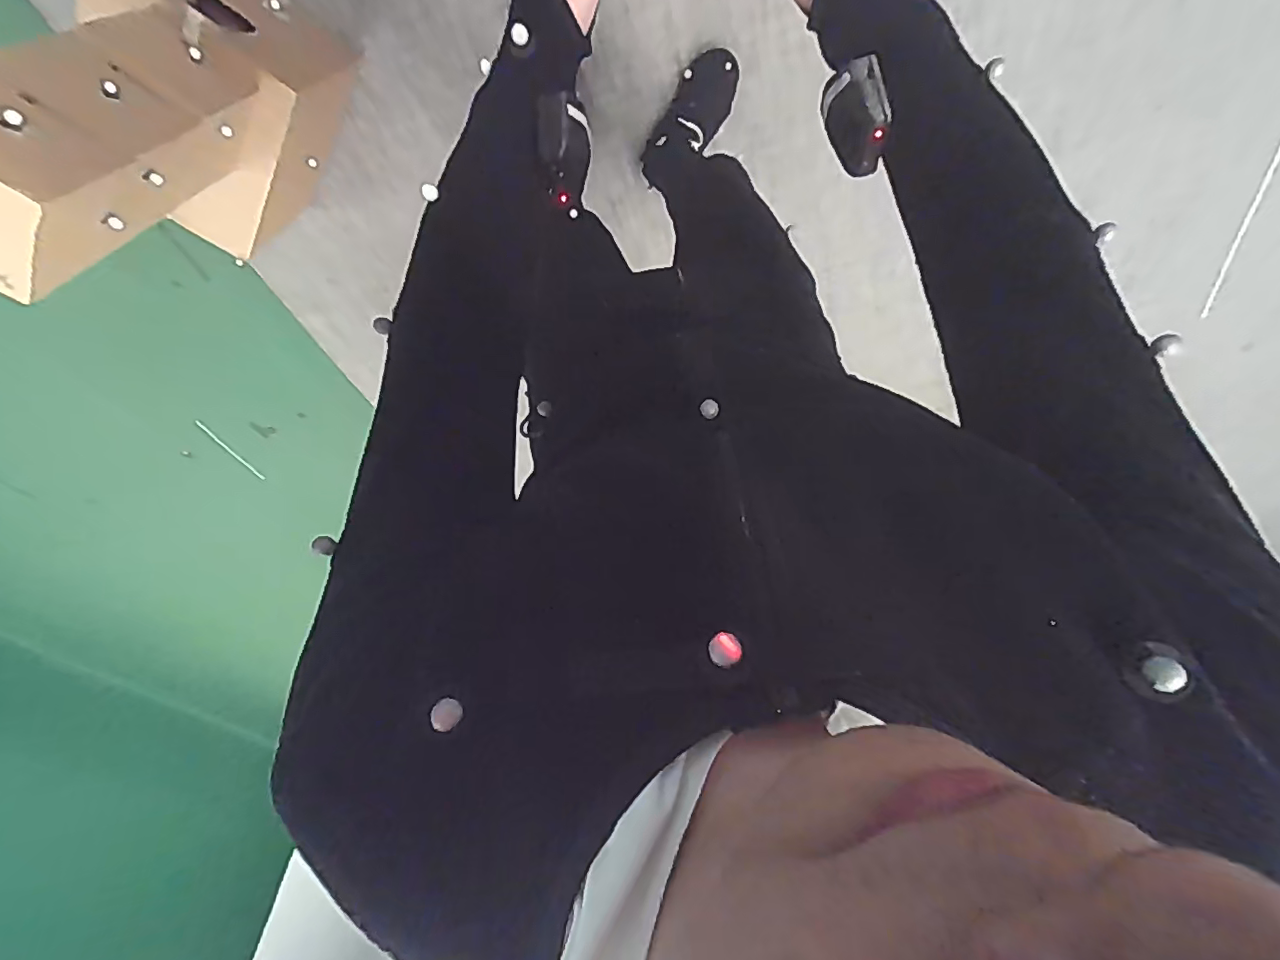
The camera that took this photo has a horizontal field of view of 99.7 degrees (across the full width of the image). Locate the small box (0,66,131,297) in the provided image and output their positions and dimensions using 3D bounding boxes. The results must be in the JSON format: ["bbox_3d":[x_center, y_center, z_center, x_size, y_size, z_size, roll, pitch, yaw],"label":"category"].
[{"bbox_3d":[-0.783,-0.372,0.664,0.168,0.176,0.179,34,127,-30],"label":"small box"}]

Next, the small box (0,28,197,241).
[{"bbox_3d":[-0.784,-0.494,0.774,0.168,0.176,0.179,34,129,-30],"label":"small box"}]

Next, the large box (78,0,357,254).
[{"bbox_3d":[-0.831,-0.766,1.086,0.320,0.320,0.408,30,131,-26],"label":"large box"}]
